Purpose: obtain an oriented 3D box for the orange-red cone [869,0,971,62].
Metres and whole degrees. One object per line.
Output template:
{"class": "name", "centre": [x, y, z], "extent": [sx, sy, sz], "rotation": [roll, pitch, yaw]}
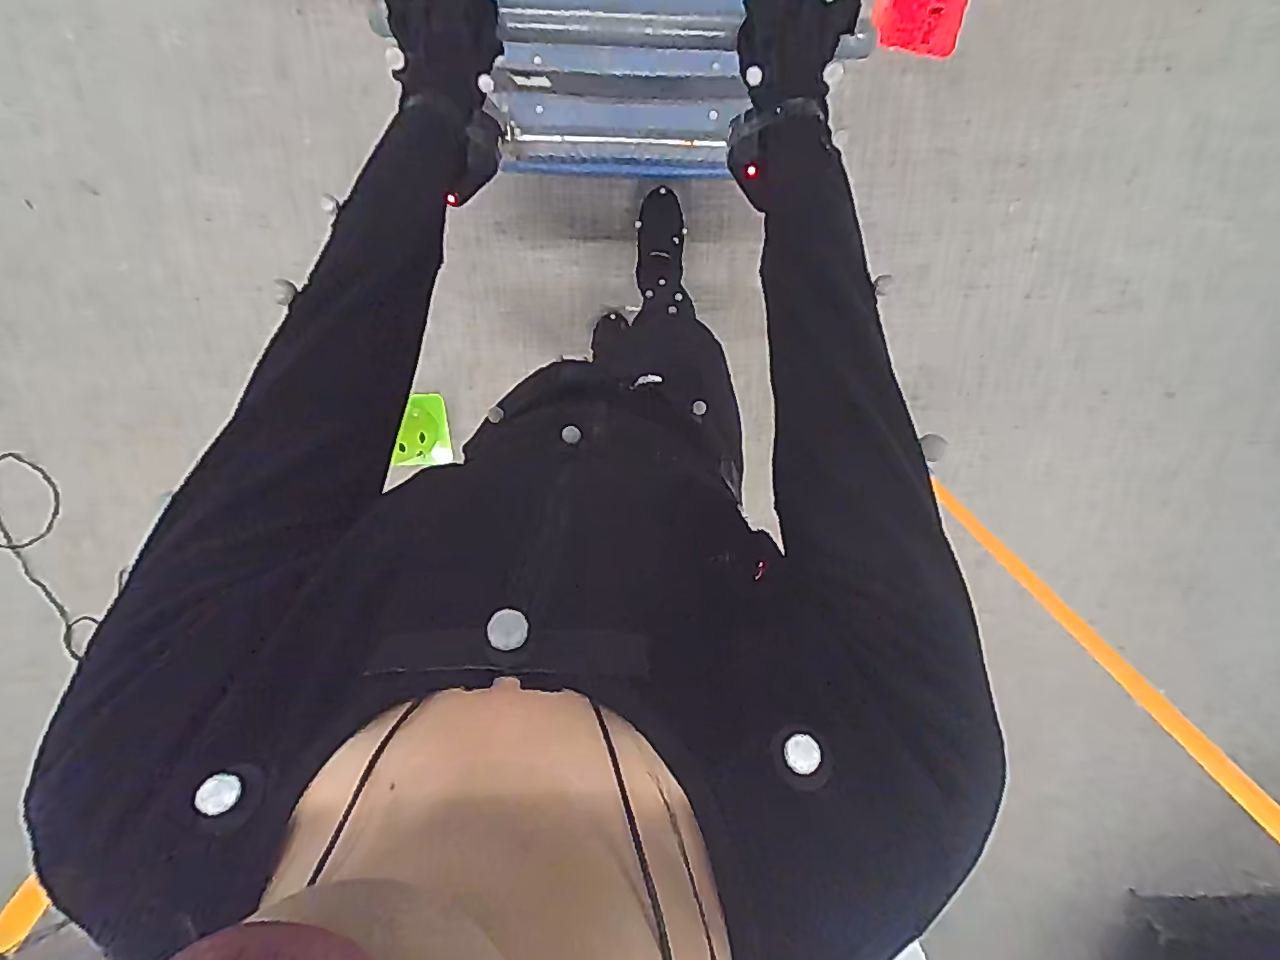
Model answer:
{"class": "orange-red cone", "centre": [0.615, -0.978, 1.012], "extent": [0.198, 0.360, 0.199], "rotation": [10, 110, -4]}
